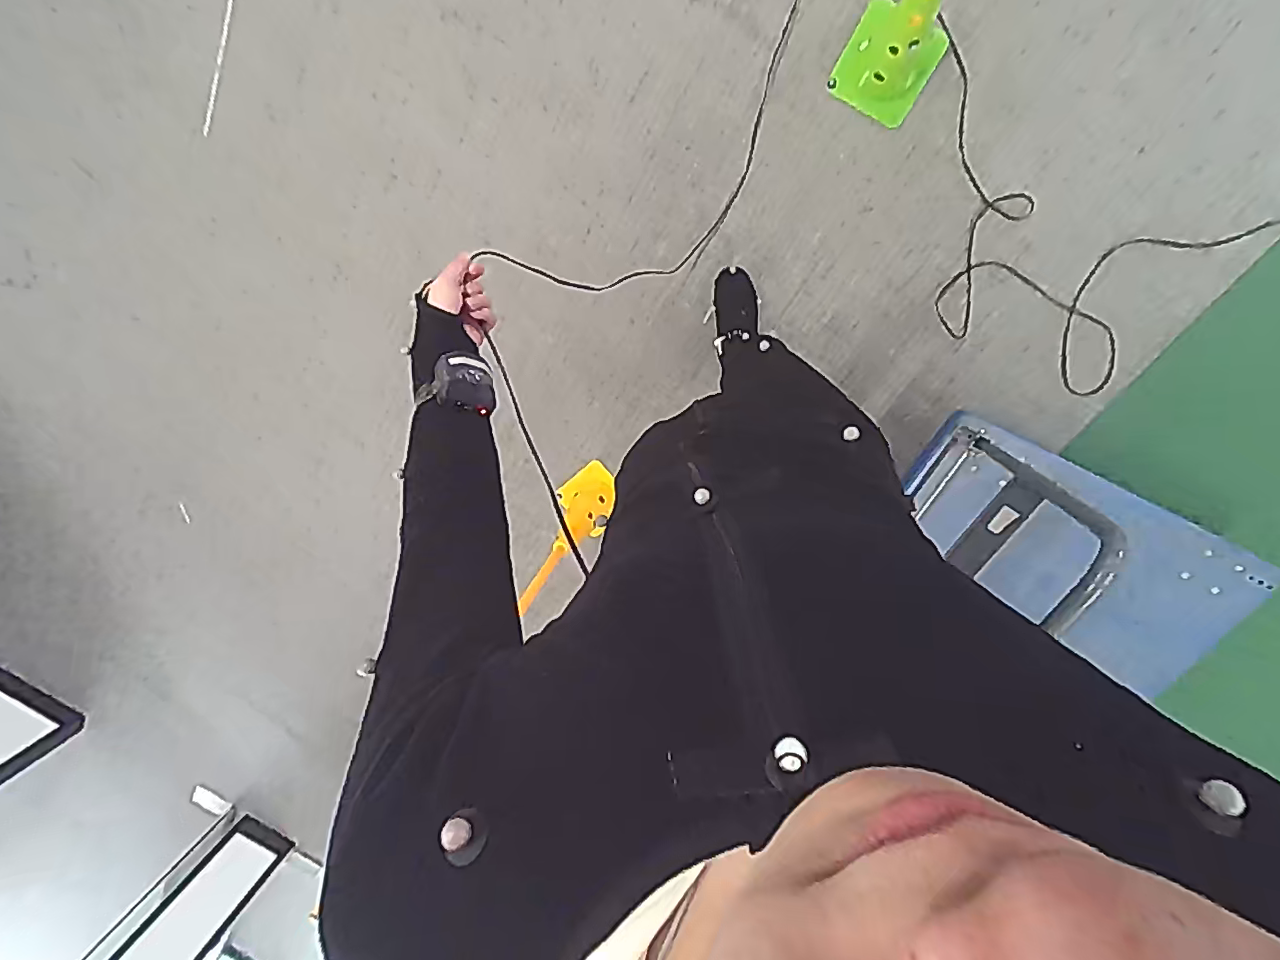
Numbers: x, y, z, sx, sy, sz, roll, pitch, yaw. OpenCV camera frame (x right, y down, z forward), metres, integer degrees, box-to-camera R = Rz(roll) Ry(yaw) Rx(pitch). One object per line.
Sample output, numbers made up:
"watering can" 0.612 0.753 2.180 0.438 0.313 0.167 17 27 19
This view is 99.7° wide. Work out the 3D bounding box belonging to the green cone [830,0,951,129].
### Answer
"green cone" 0.533 -0.880 1.060 0.200 0.368 0.202 29 111 0
